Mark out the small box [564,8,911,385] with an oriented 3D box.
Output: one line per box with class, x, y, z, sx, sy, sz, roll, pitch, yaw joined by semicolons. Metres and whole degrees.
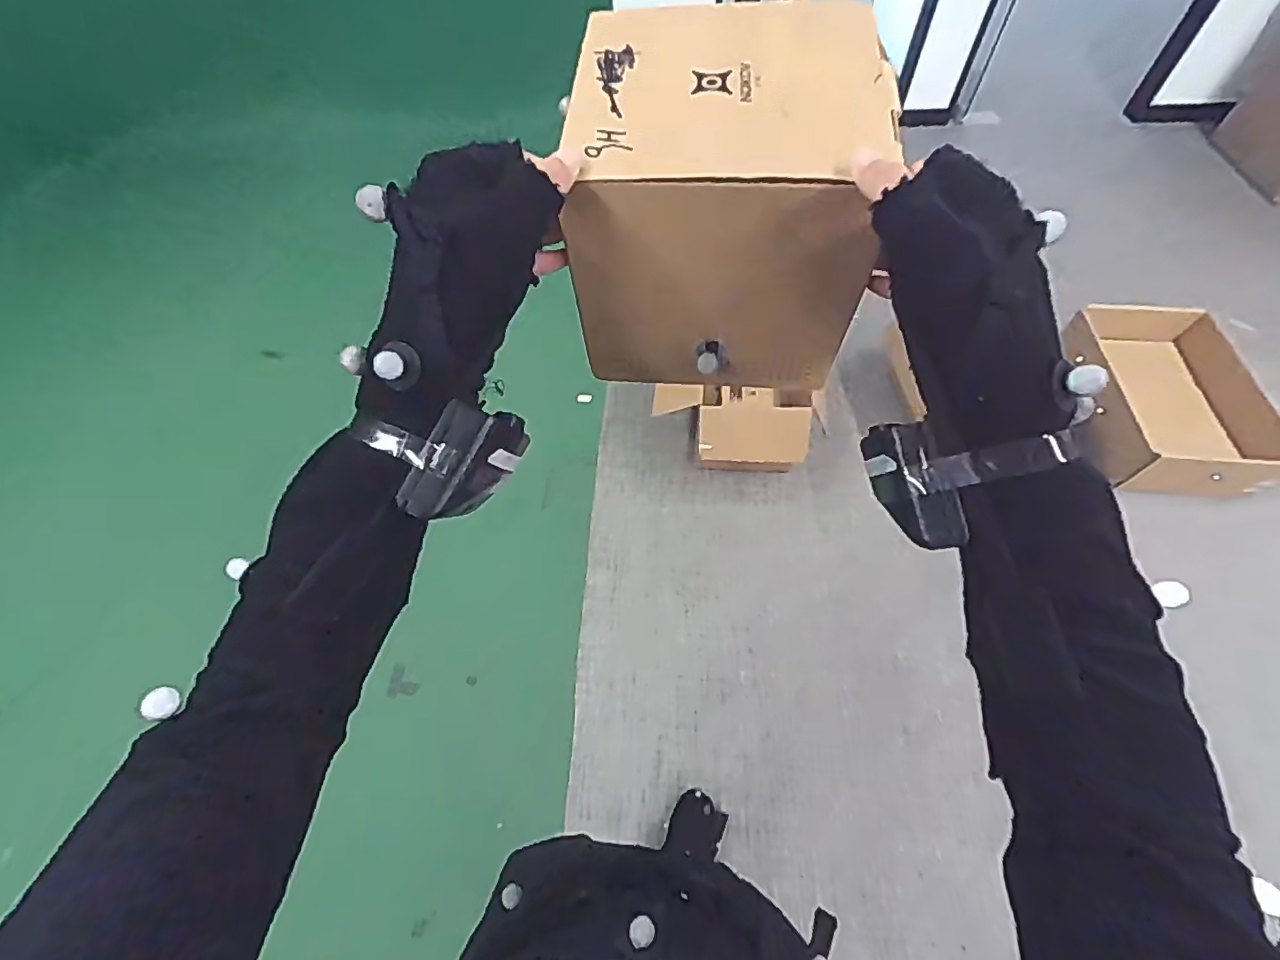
small box;0.057;-0.182;0.375;0.179;0.176;0.168;4;63;4
